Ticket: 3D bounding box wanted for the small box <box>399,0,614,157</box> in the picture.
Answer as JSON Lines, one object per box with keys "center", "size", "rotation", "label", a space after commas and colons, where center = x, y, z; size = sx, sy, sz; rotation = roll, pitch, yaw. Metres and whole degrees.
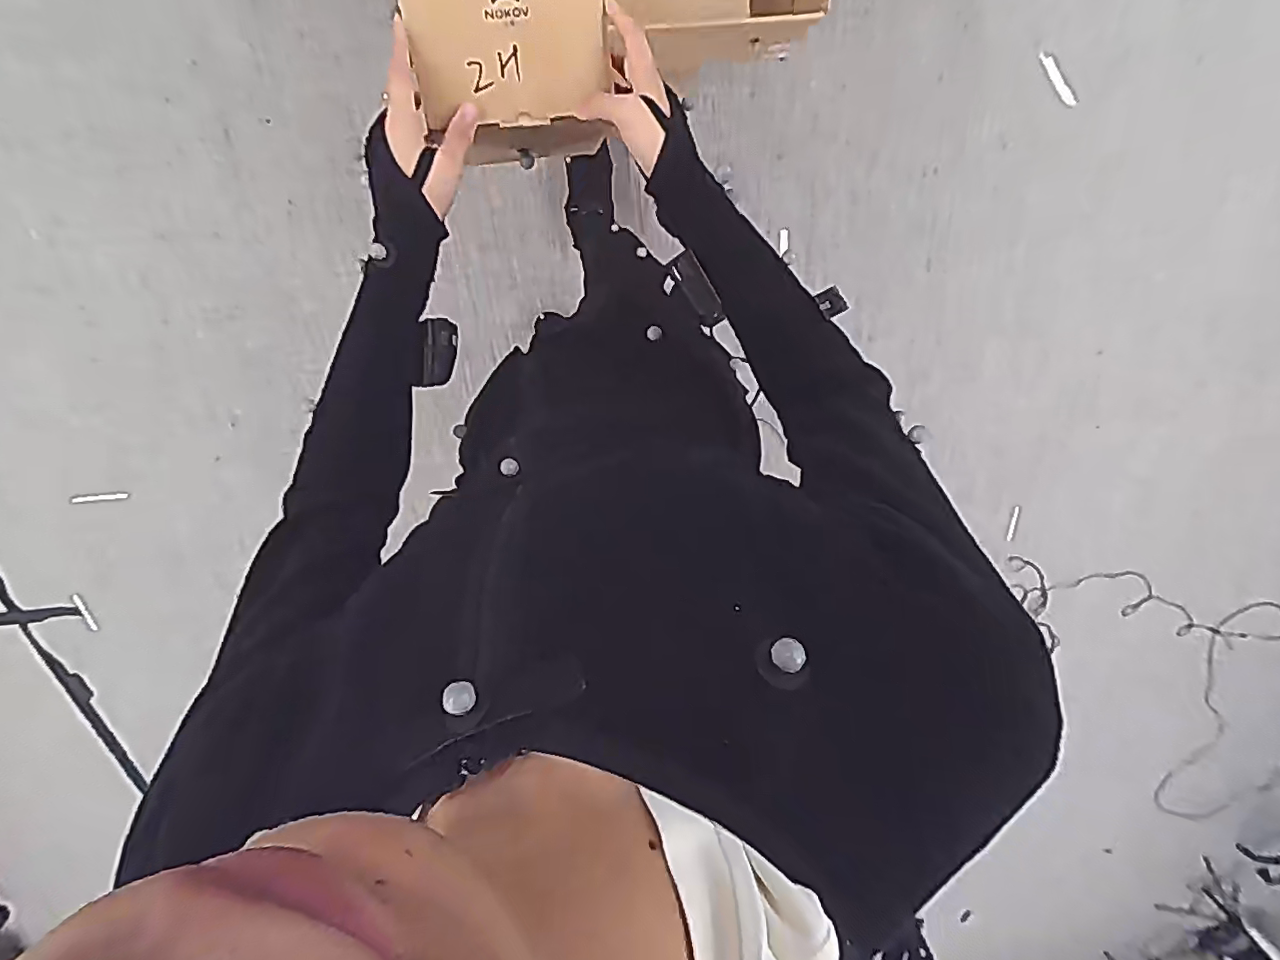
{"center": [-0.126, -0.423, 0.505], "size": [0.168, 0.176, 0.179], "rotation": [-10, 113, -7], "label": "small box"}
